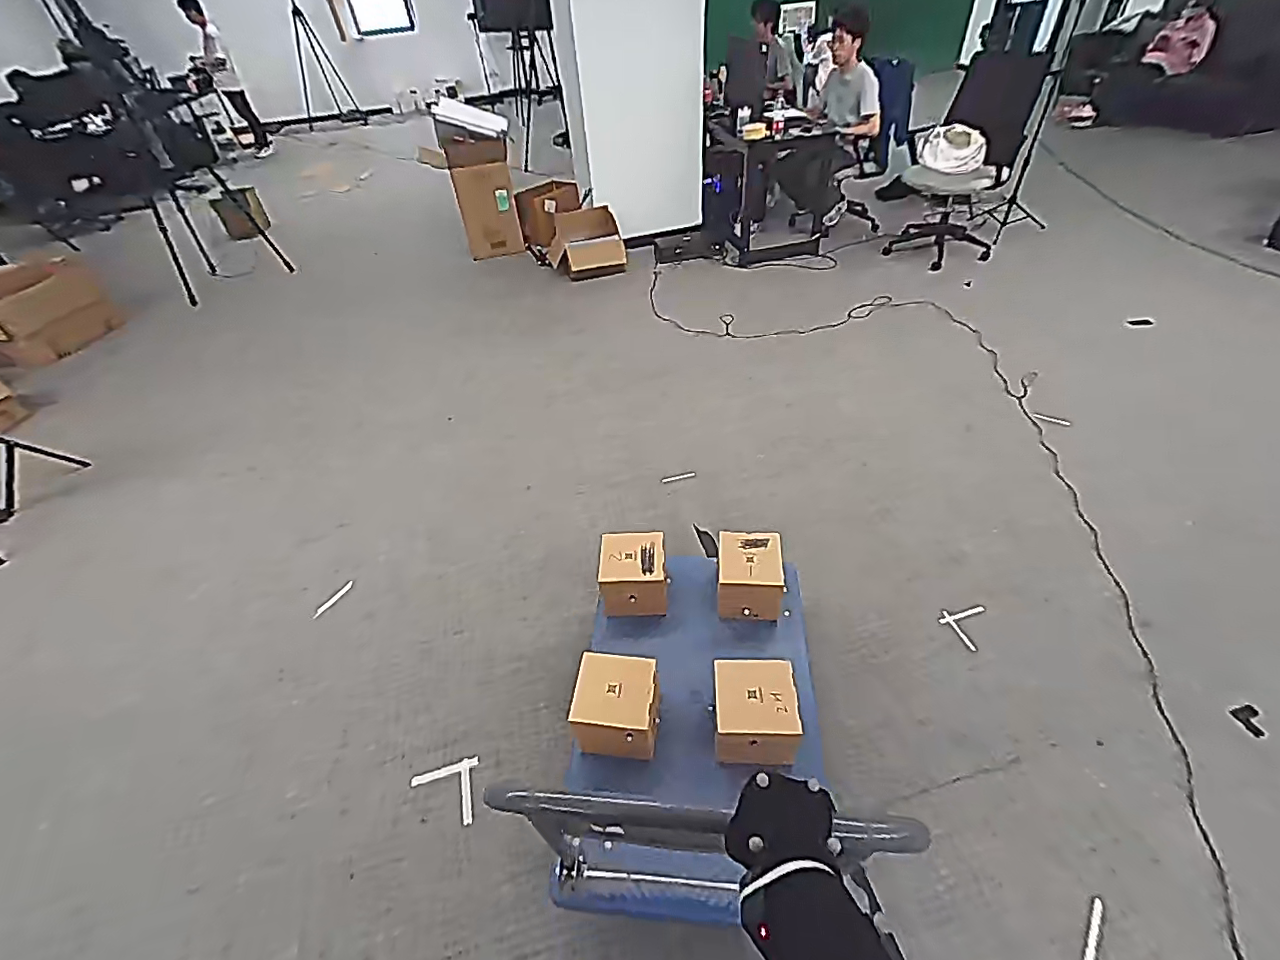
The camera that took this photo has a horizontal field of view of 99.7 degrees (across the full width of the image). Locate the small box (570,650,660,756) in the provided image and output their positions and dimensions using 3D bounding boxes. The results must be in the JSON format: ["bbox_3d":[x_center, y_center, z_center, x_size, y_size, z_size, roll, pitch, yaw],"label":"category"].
[{"bbox_3d":[-0.051,0.520,1.256,0.179,0.176,0.168,4,43,7],"label":"small box"}]

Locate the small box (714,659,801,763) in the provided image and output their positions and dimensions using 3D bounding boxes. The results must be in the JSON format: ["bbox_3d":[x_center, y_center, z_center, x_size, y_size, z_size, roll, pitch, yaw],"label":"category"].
[{"bbox_3d":[0.256,0.523,1.221,0.179,0.176,0.168,0,44,5],"label":"small box"}]

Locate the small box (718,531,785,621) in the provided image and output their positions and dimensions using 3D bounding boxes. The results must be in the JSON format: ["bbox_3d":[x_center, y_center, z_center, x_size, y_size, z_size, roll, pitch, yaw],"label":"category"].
[{"bbox_3d":[0.303,0.263,1.491,0.168,0.176,0.179,1,45,8],"label":"small box"}]
